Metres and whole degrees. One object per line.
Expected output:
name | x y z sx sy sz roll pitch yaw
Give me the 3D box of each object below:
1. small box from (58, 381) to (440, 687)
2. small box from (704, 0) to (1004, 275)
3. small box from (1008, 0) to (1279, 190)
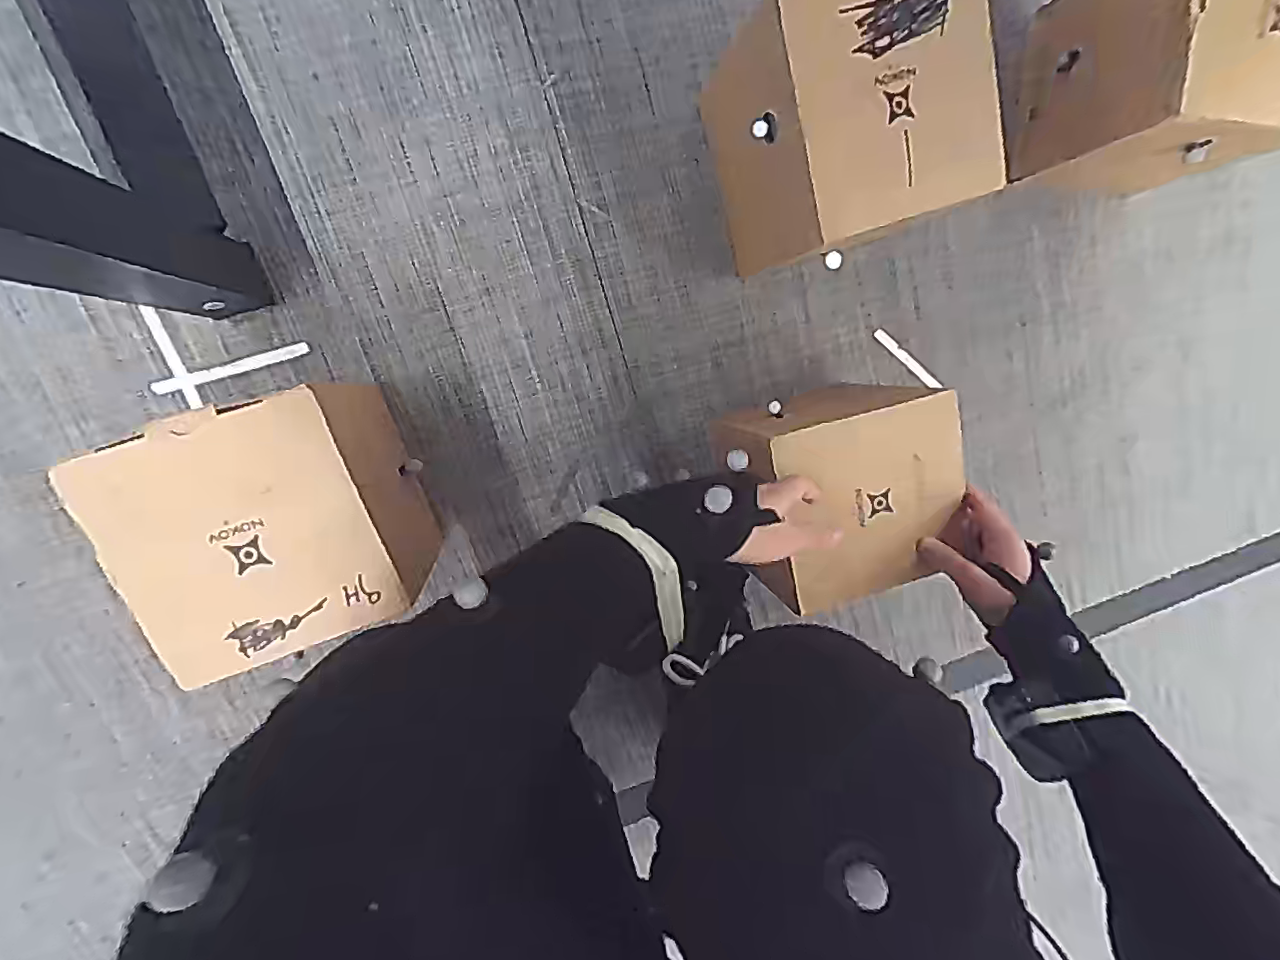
small box | -0.283 0.027 0.445 0.168 0.176 0.179 -19 102 -8
small box | 0.171 -0.301 0.474 0.168 0.176 0.179 -19 104 -7
small box | 0.510 -0.398 0.526 0.179 0.176 0.168 -2 101 -10
